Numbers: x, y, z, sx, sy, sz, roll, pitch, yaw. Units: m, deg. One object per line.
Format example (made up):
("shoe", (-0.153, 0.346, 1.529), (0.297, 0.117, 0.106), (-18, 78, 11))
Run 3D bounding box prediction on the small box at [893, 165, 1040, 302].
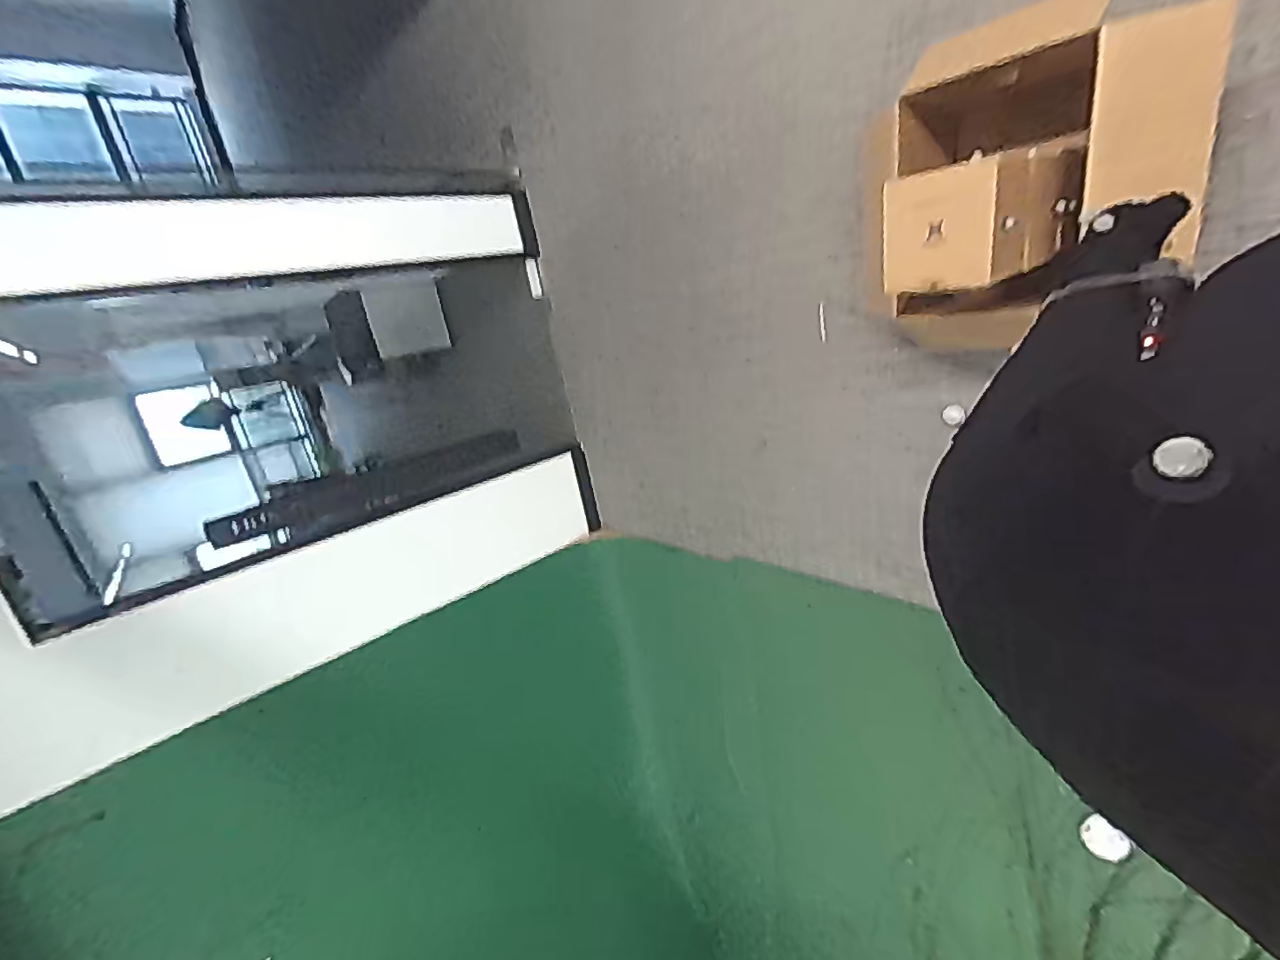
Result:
("small box", (0.542, -0.406, 0.900), (0.168, 0.176, 0.179), (12, 120, 47))
